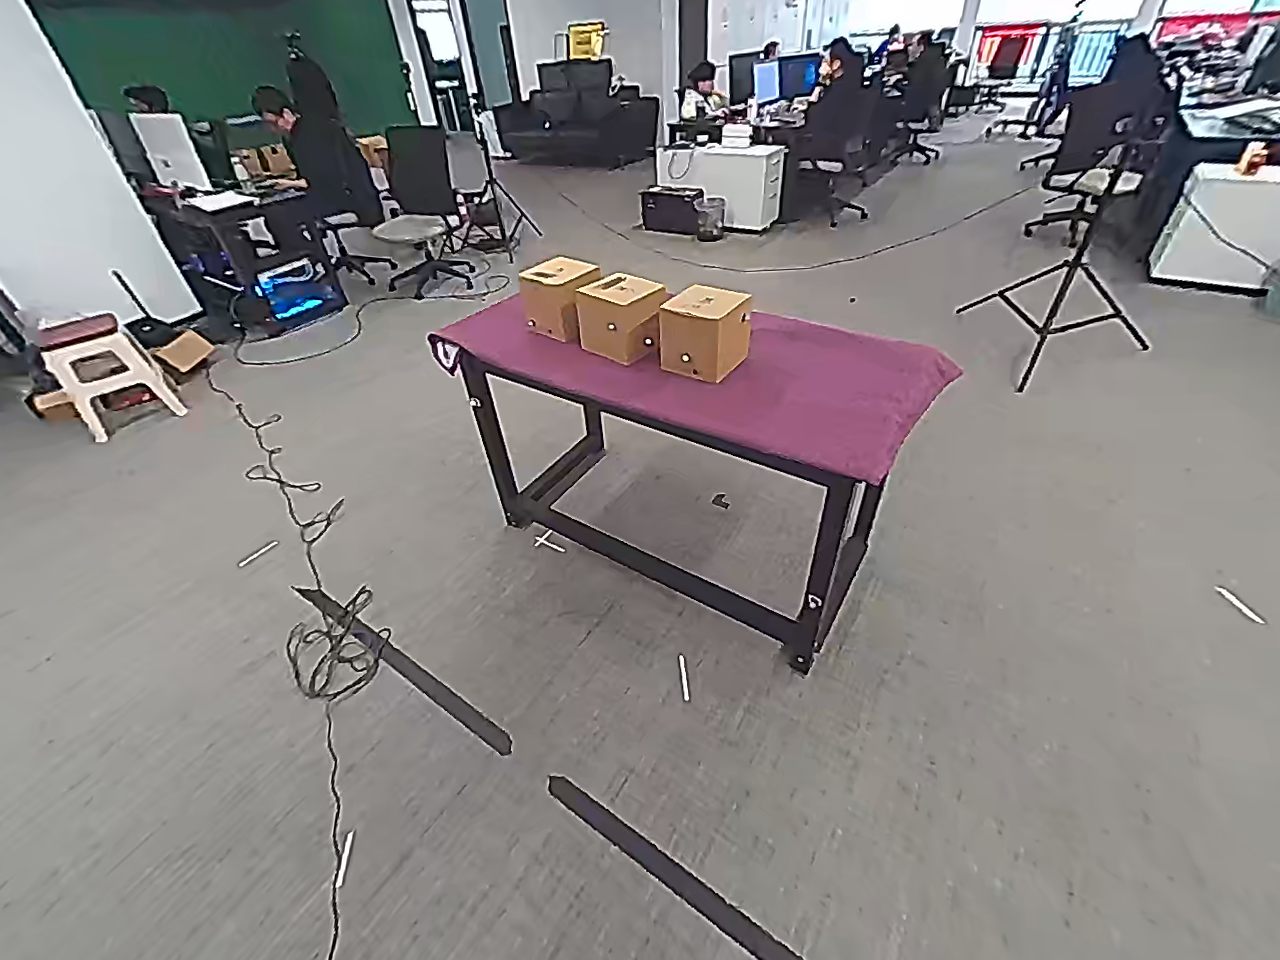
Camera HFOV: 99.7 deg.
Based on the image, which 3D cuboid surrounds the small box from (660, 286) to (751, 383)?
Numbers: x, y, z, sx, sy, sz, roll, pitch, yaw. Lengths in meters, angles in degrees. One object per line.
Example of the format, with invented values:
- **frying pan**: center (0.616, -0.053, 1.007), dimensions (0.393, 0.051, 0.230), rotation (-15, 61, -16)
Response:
- **small box**: center (0.164, -0.371, 1.373), dimensions (0.168, 0.176, 0.179), rotation (22, 46, 28)

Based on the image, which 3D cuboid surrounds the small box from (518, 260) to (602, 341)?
- **small box**: center (-0.228, -0.529, 1.596), dimensions (0.168, 0.176, 0.179), rotation (26, 49, 31)
